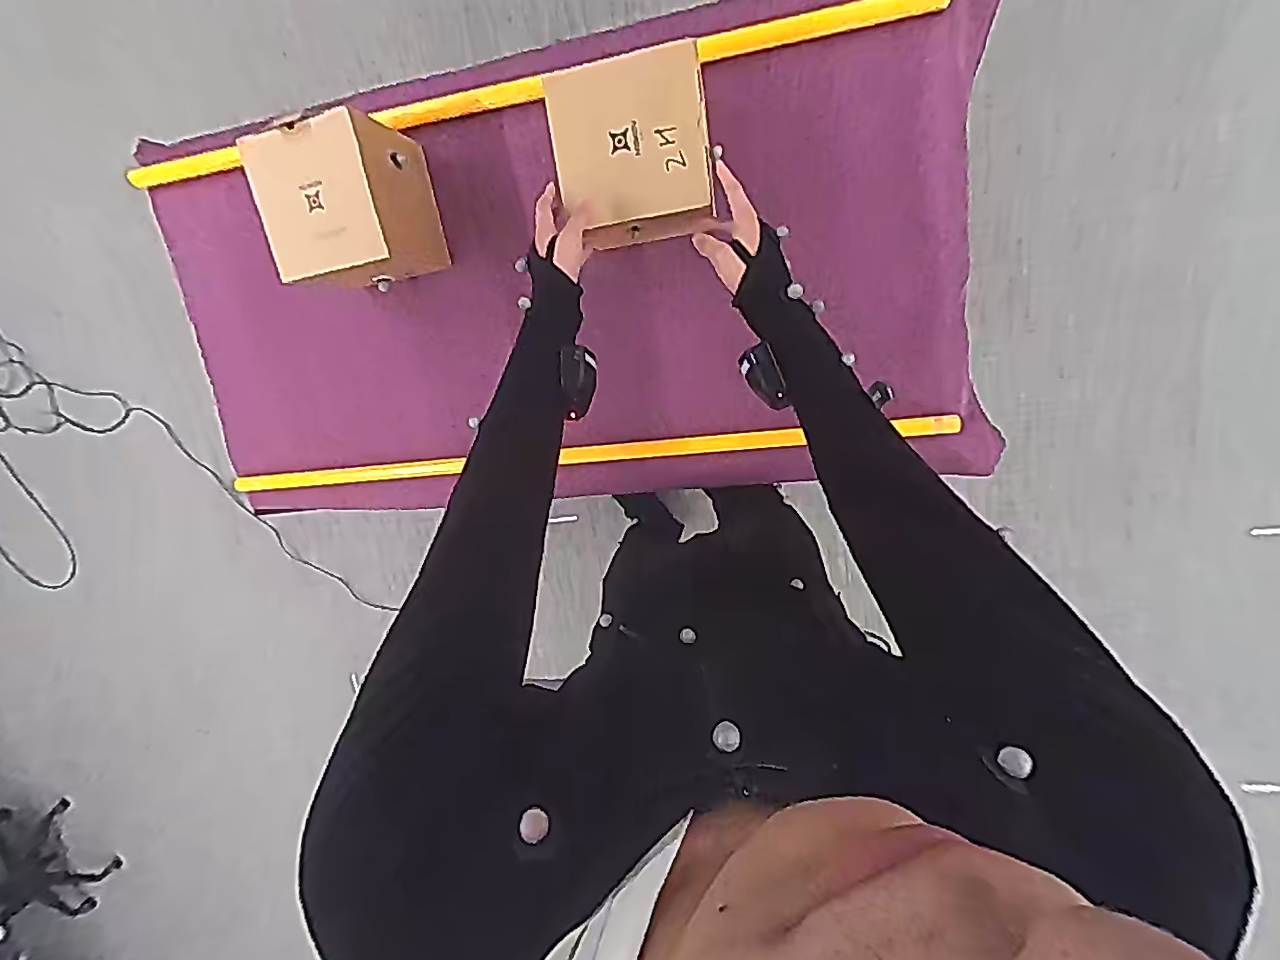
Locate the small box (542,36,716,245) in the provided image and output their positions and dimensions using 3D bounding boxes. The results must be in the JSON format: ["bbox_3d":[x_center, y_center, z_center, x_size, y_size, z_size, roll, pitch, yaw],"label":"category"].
[{"bbox_3d":[-0.002,-0.403,0.677,0.179,0.176,0.168,-5,106,11],"label":"small box"}]

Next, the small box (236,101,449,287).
[{"bbox_3d":[-0.396,-0.379,0.752,0.168,0.176,0.179,-8,105,12],"label":"small box"}]
